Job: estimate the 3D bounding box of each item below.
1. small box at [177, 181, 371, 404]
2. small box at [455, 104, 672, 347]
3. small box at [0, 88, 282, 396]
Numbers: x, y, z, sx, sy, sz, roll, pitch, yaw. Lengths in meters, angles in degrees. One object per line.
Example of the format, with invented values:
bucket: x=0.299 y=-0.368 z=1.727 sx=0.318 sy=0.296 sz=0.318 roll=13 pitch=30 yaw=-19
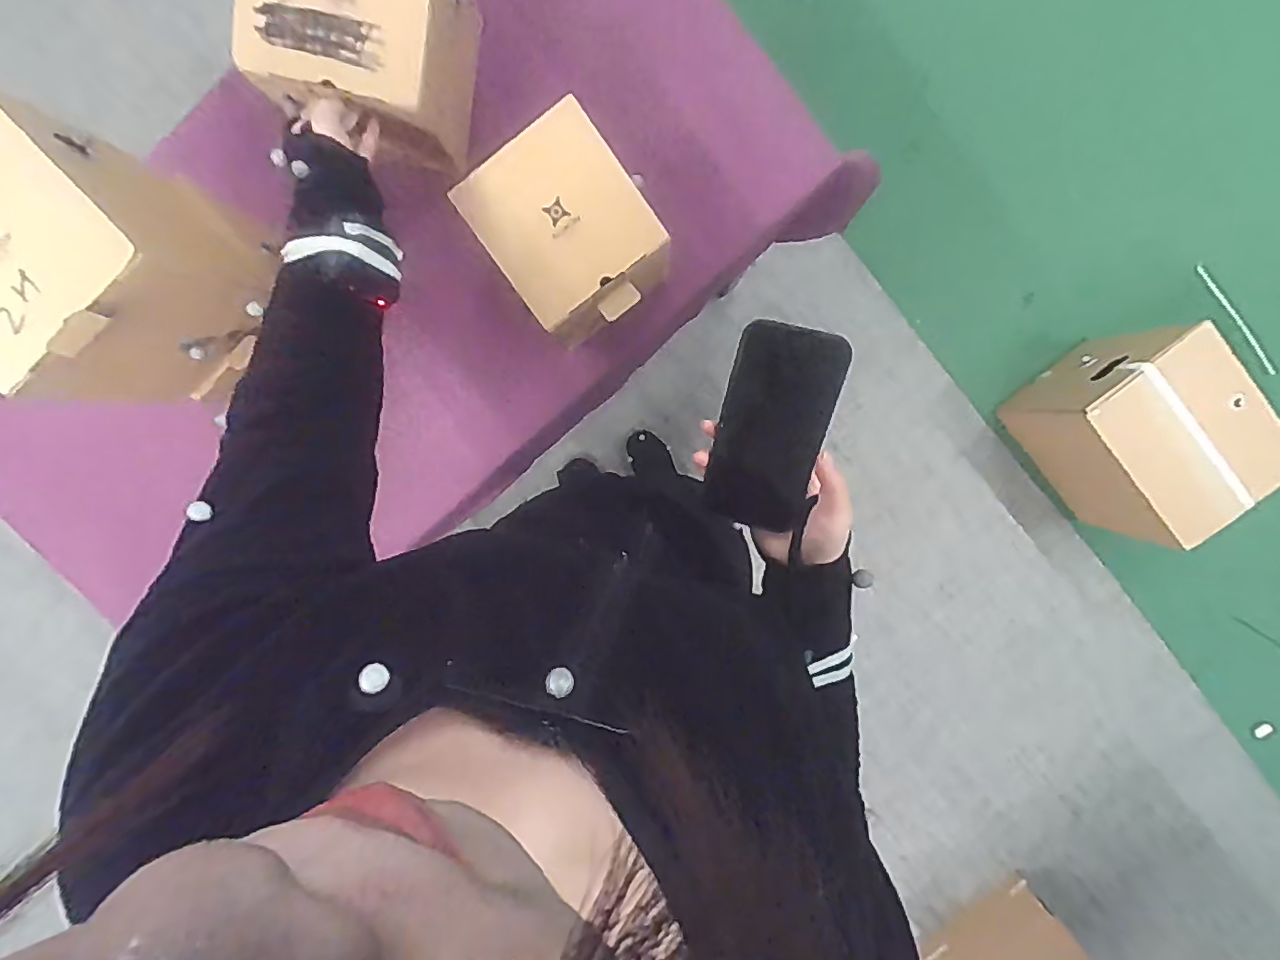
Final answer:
small box: x=-0.476 y=-0.211 z=0.660 sx=0.168 sy=0.176 sz=0.179 roll=-41 pitch=94 yaw=5
small box: x=-0.080 y=-0.280 z=0.644 sx=0.168 sy=0.176 sz=0.179 roll=-36 pitch=96 yaw=5
small box: x=-0.492 y=-0.191 z=0.497 sx=0.168 sy=0.176 sz=0.179 roll=-41 pitch=95 yaw=5
